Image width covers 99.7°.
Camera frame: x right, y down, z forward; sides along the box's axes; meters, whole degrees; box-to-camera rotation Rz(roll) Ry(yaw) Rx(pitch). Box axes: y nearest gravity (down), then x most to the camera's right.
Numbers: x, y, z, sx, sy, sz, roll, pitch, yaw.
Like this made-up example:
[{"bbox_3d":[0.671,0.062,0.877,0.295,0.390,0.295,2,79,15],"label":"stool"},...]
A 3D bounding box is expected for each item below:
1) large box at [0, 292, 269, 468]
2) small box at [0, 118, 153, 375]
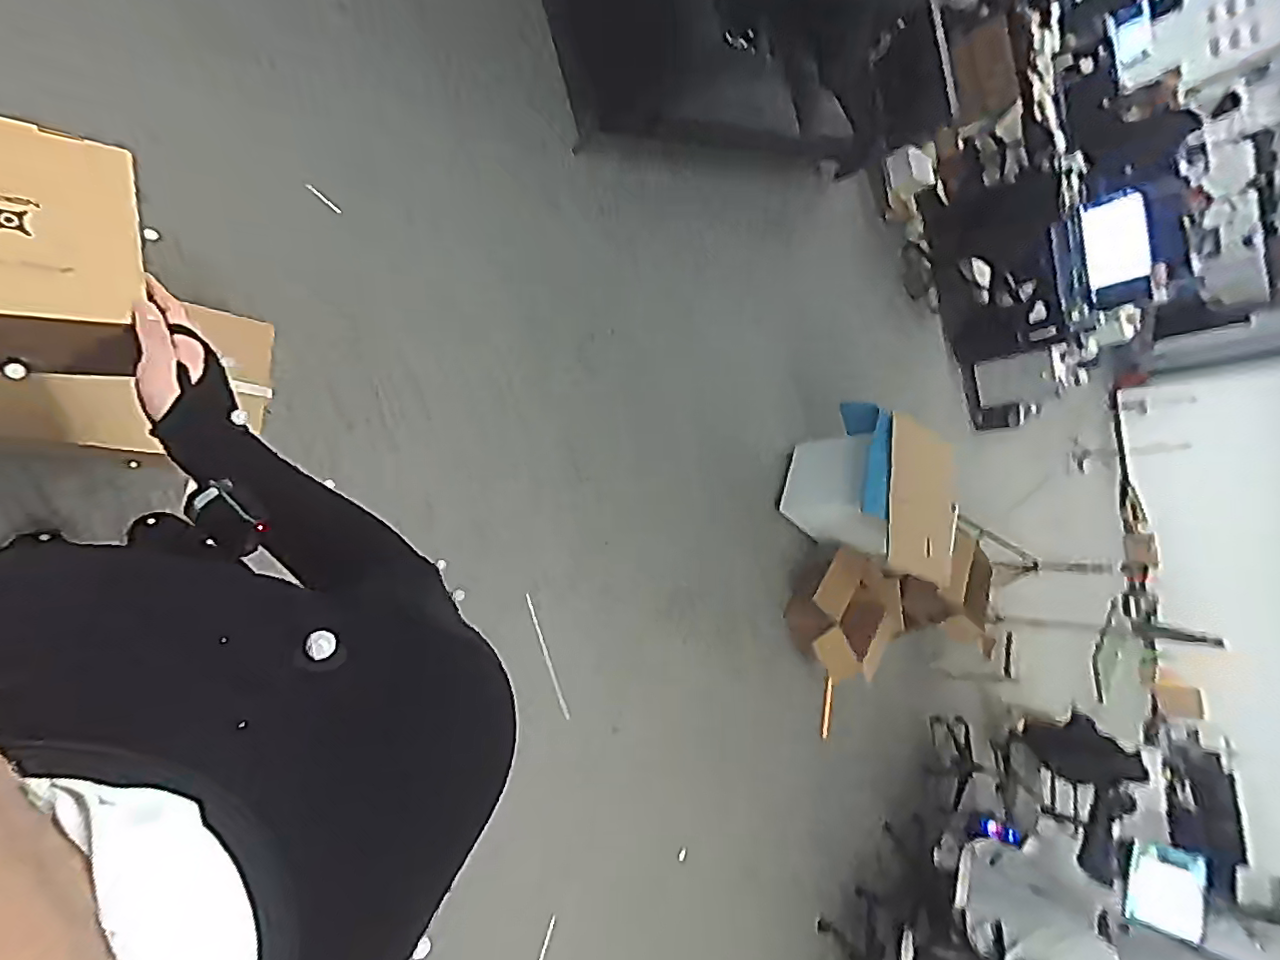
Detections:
[{"bbox_3d":[-1.054,-0.206,1.143,0.408,0.320,0.320,9,80,-39],"label":"large box"},{"bbox_3d":[-0.583,-0.211,0.511,0.168,0.176,0.179,-8,88,-43],"label":"small box"}]
